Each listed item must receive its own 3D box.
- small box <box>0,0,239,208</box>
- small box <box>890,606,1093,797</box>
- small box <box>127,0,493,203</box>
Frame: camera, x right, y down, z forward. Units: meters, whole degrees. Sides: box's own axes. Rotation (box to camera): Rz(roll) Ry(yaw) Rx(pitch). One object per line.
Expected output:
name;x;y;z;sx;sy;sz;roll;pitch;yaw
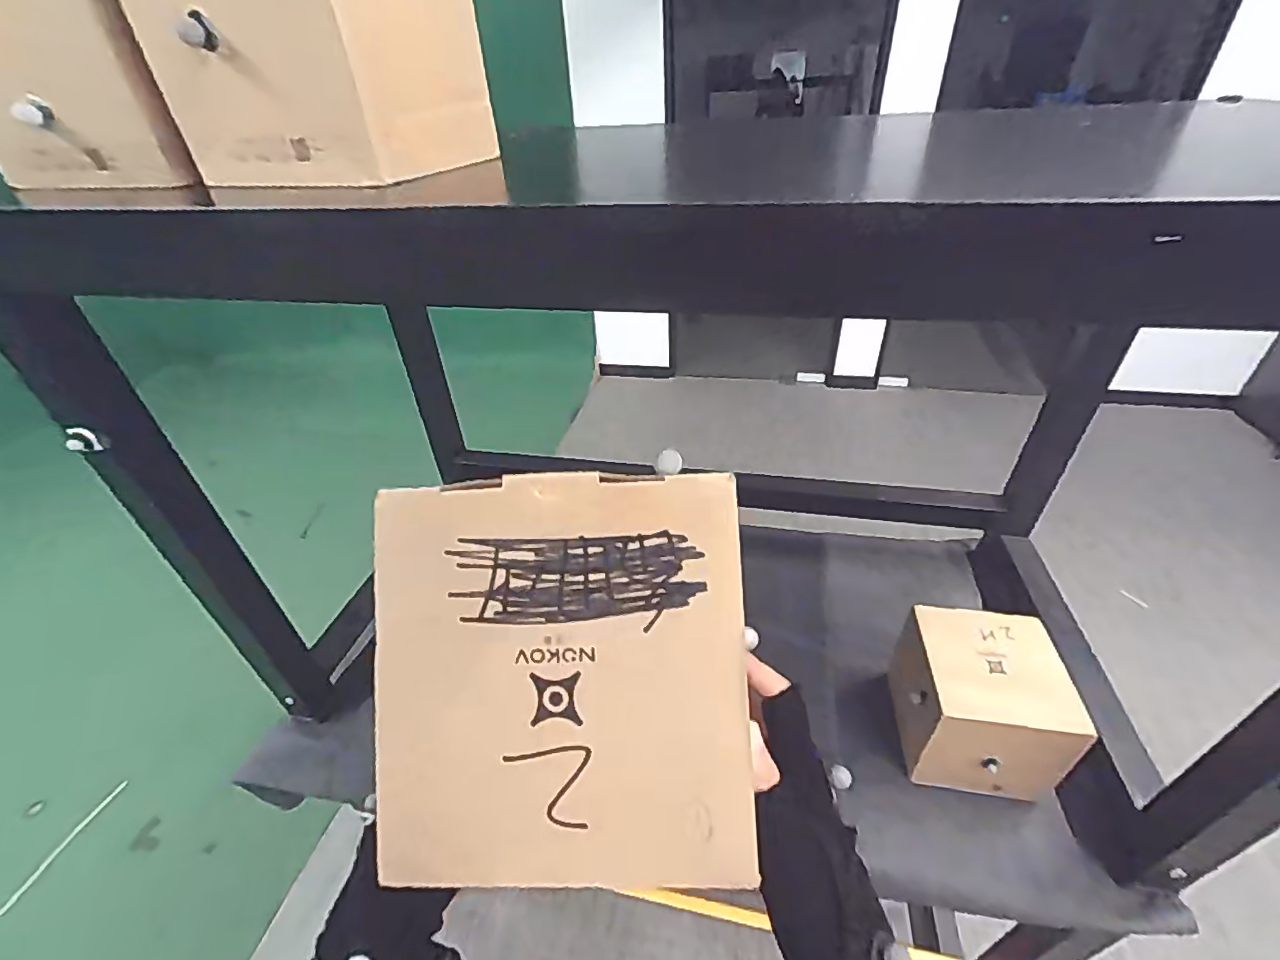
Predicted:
small box;-0.421;-0.340;0.456;0.168;0.176;0.179;5;38;10
small box;0.461;0.303;0.745;0.168;0.176;0.179;4;36;10
small box;-0.235;-0.321;0.420;0.168;0.176;0.179;8;37;14
